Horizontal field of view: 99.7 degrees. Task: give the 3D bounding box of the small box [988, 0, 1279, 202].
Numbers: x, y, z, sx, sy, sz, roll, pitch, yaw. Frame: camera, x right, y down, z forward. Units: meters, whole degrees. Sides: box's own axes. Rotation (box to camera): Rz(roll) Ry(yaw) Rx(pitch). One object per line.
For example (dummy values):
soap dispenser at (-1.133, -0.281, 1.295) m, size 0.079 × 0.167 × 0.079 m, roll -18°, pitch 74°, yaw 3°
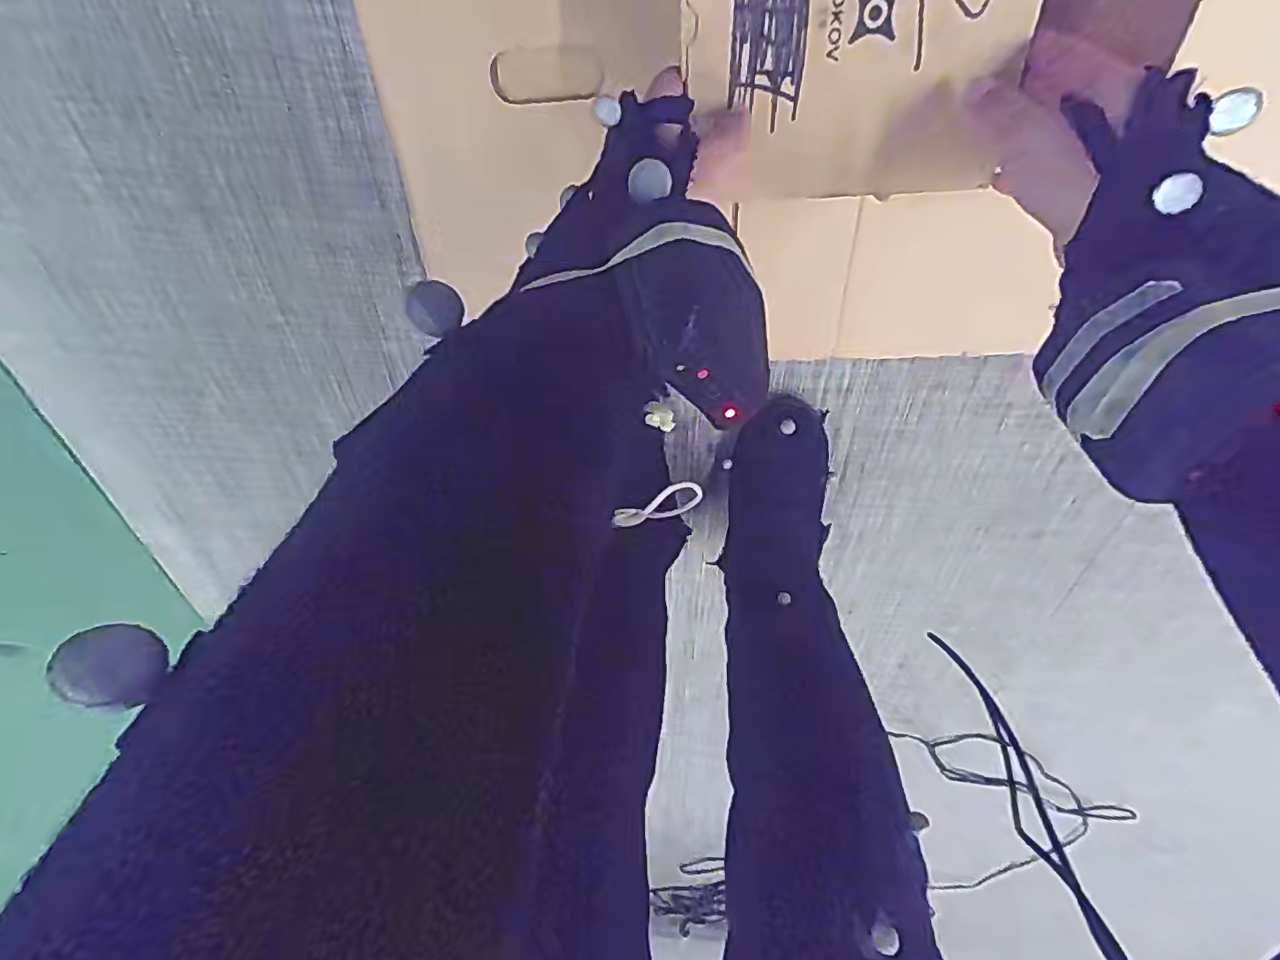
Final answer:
small box at (0.353, -0.270, 0.323) m, size 0.179 × 0.176 × 0.168 m, roll 1°, pitch 127°, yaw 3°
